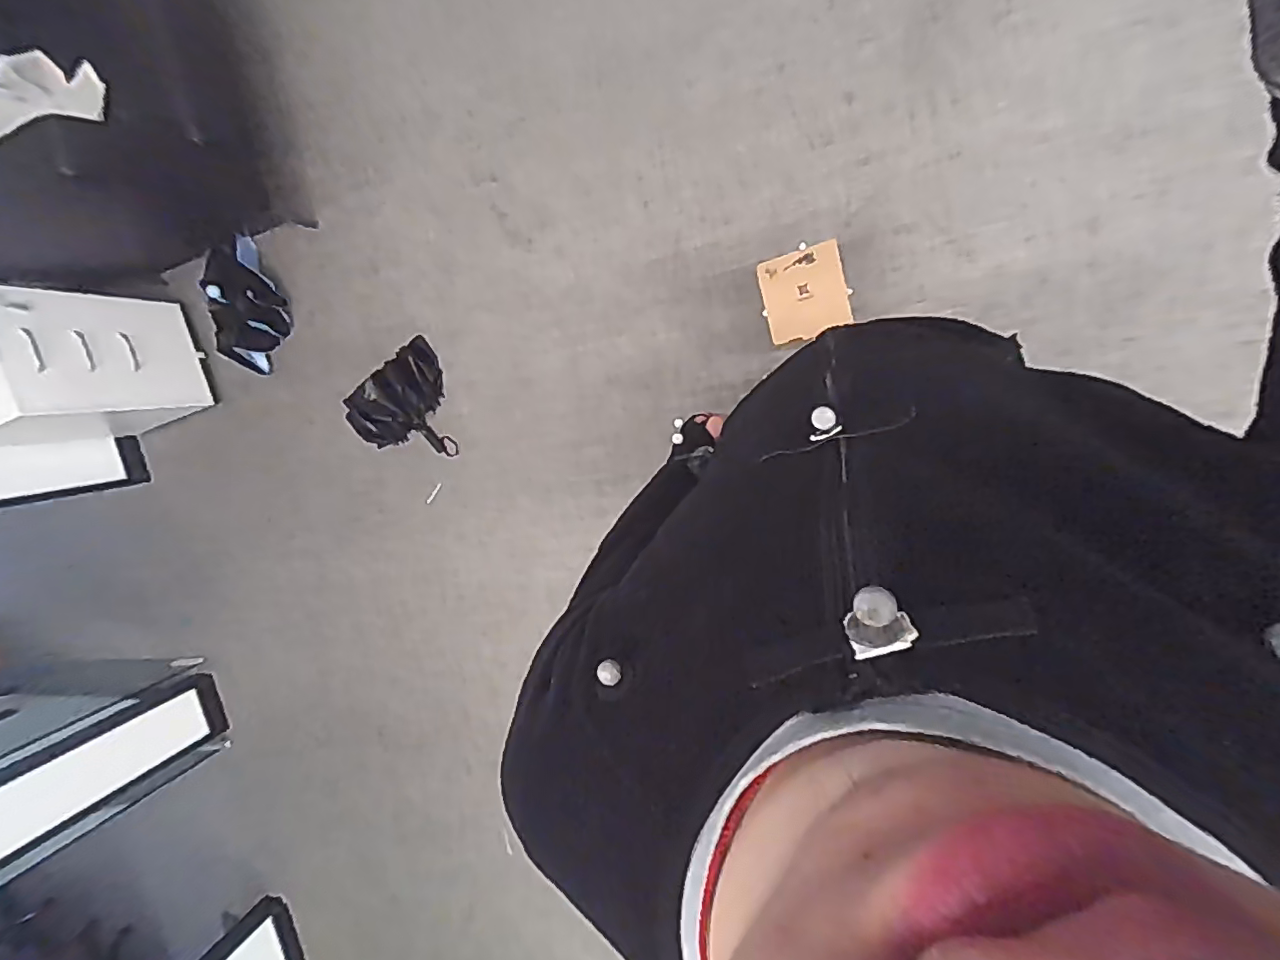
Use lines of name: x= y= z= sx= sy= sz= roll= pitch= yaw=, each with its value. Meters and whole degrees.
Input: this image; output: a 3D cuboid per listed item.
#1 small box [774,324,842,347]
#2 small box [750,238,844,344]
small box: x=0.401 y=-0.442 z=1.356 sx=0.168 sy=0.176 sz=0.179 roll=-14 pitch=98 yaw=21
small box: x=0.354 y=-0.411 z=1.203 sx=0.168 sy=0.176 sz=0.179 roll=-12 pitch=98 yaw=21
